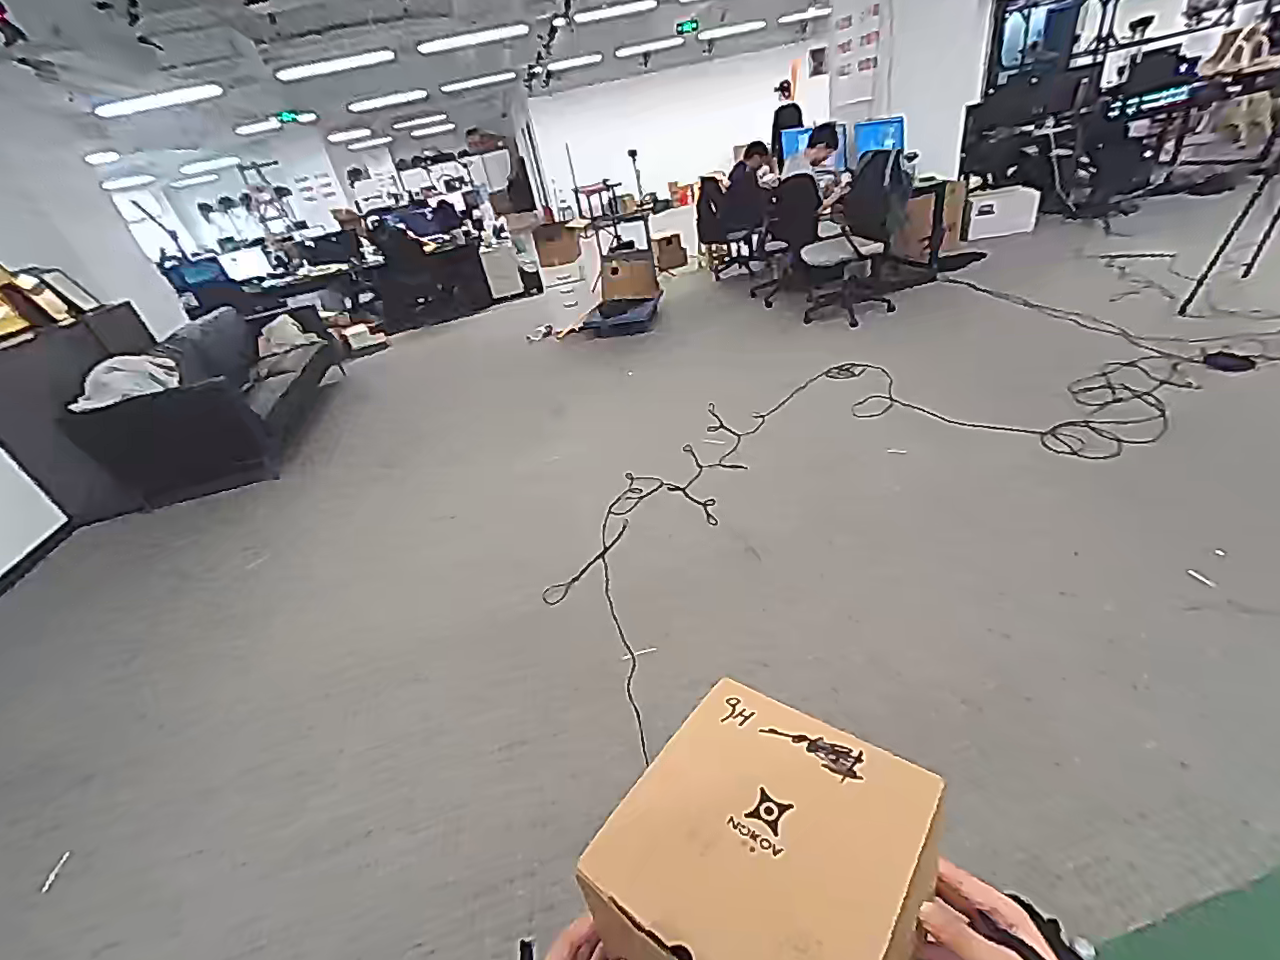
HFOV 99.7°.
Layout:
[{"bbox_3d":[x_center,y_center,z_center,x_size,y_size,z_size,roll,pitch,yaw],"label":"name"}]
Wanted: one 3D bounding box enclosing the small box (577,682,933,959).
[{"bbox_3d":[0.089,0.288,0.375,0.168,0.176,0.179,12,35,40],"label":"small box"}]
